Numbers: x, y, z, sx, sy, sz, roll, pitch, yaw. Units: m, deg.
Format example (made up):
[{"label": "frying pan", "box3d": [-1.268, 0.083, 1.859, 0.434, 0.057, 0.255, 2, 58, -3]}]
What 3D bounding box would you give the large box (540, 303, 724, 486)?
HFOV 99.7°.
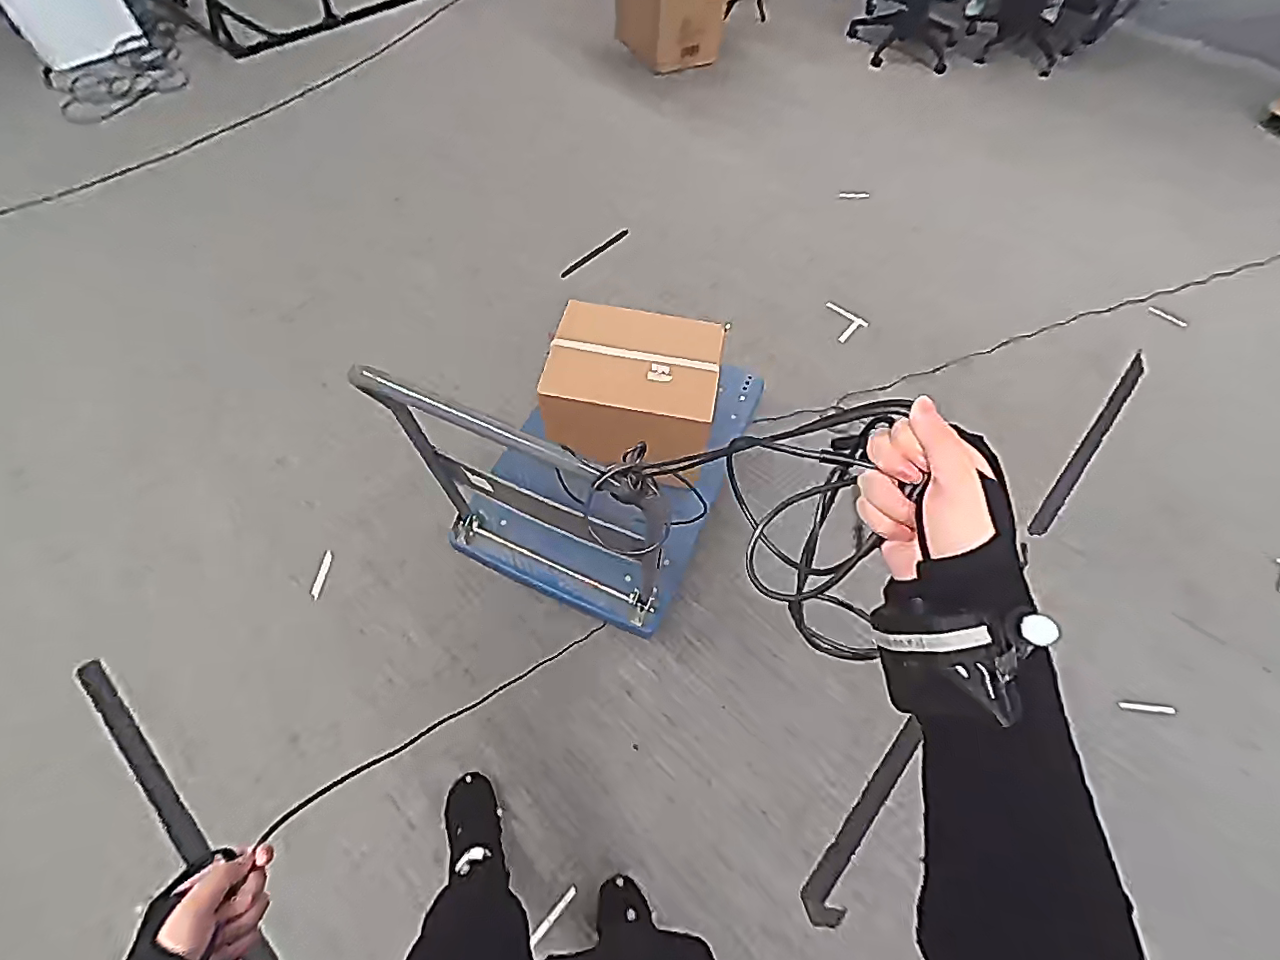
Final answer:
[{"label": "large box", "box3d": [-0.019, -0.214, 1.412, 0.408, 0.320, 0.320, 11, 60, 3]}]
